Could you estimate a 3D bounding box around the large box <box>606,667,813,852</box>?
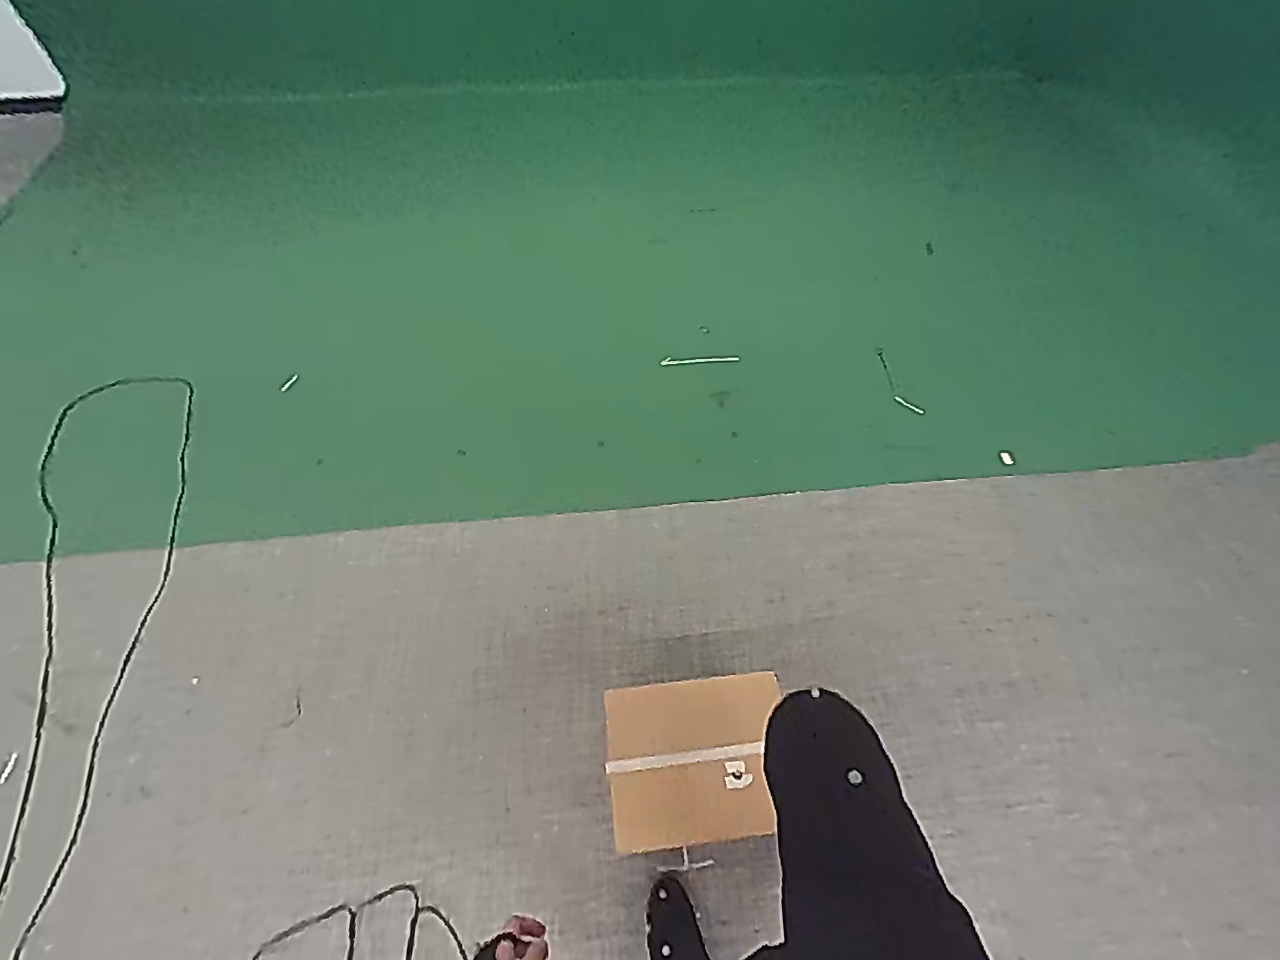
[{"bbox_3d":[0.137,0.674,1.297,0.408,0.320,0.320,-6,57,-5],"label":"large box"}]
